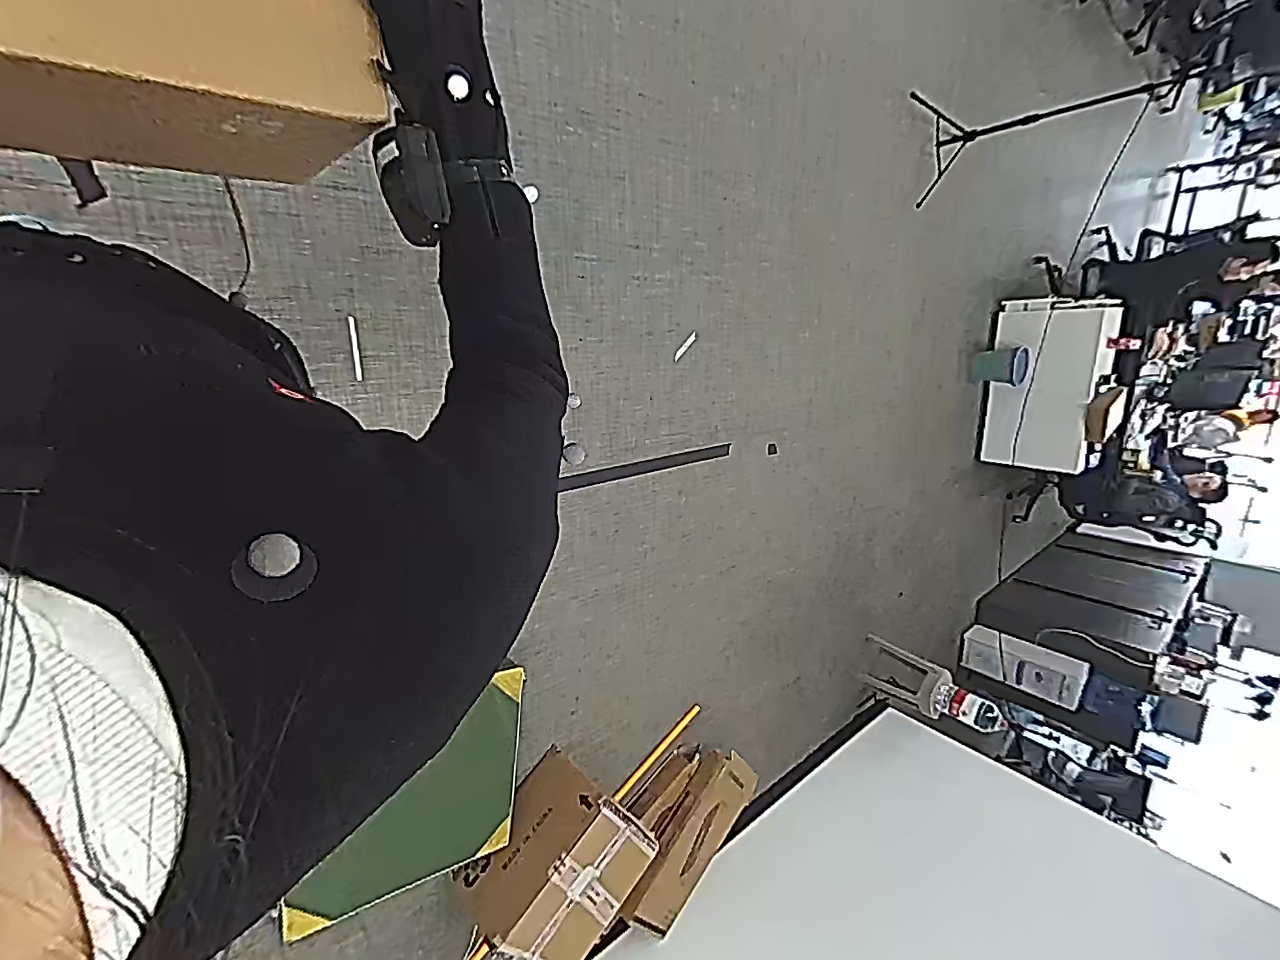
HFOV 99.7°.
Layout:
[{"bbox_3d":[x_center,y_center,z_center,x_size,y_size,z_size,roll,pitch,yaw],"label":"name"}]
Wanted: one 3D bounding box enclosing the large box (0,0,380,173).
[{"bbox_3d":[-0.421,-0.385,0.298,0.408,0.320,0.320,-15,117,-38],"label":"large box"}]
